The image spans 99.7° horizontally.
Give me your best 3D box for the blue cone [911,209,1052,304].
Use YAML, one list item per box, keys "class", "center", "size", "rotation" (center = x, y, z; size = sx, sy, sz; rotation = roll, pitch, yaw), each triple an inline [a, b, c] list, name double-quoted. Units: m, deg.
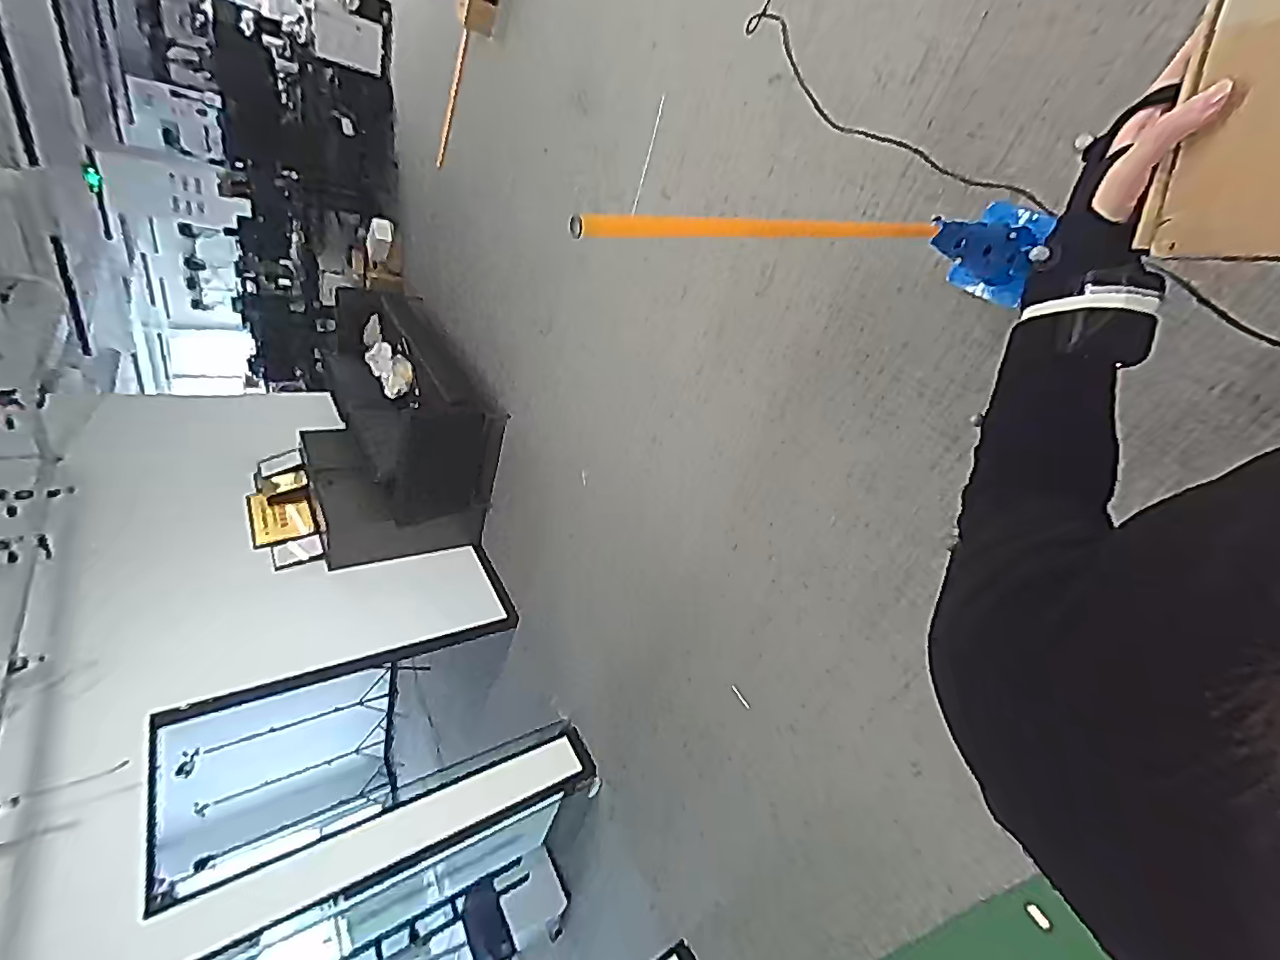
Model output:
- class: "blue cone"
  center: [0.724, -0.515, 1.201]
  size: [0.192, 0.380, 0.193]
  rotation: [46, 132, 38]
